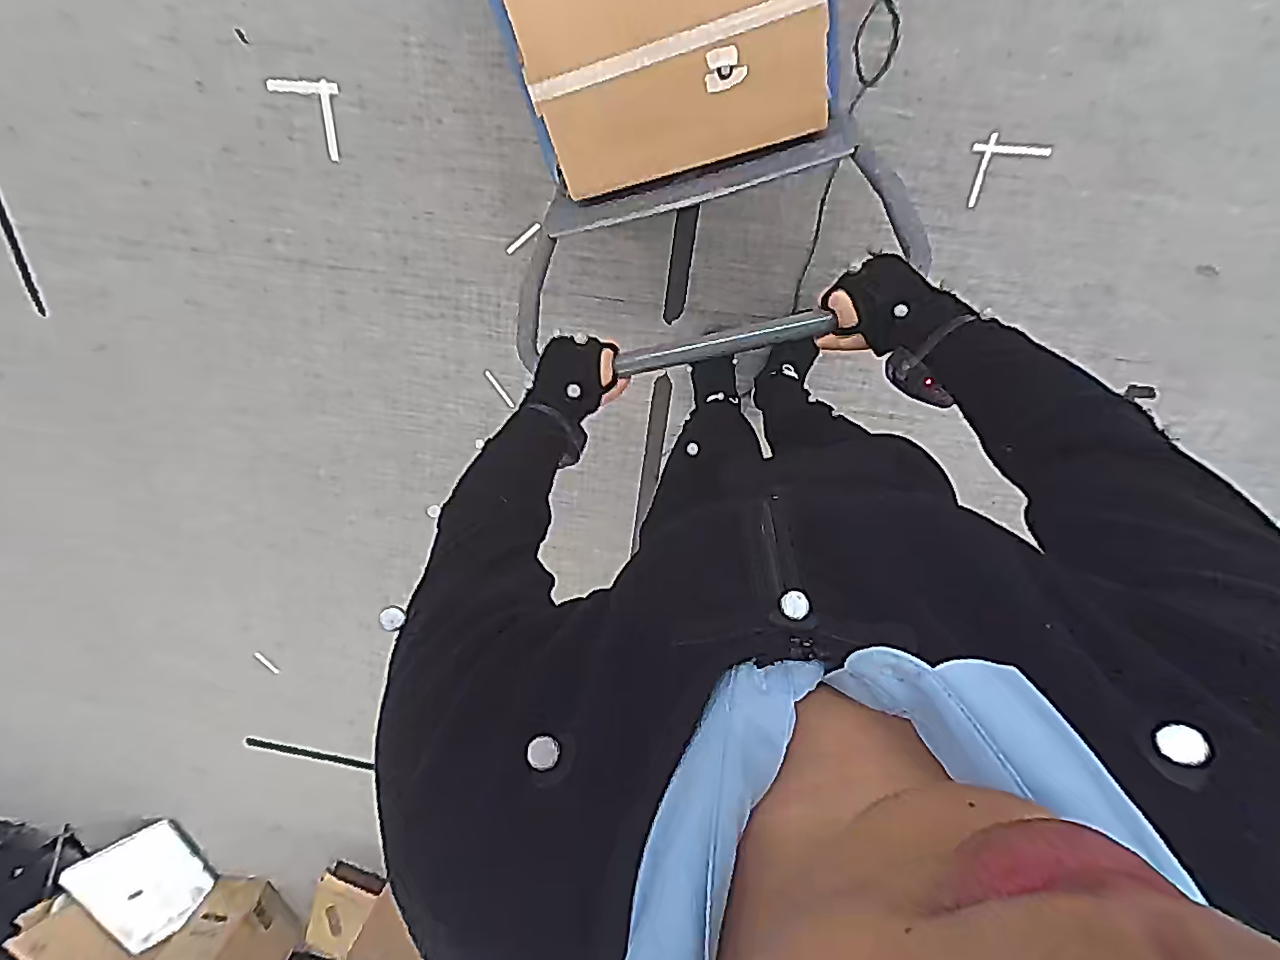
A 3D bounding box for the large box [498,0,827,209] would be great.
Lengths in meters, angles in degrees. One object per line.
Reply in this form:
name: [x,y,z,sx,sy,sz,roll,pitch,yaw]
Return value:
large box: [0.042,-0.684,0.840,0.408,0.320,0.320,-11,134,13]
